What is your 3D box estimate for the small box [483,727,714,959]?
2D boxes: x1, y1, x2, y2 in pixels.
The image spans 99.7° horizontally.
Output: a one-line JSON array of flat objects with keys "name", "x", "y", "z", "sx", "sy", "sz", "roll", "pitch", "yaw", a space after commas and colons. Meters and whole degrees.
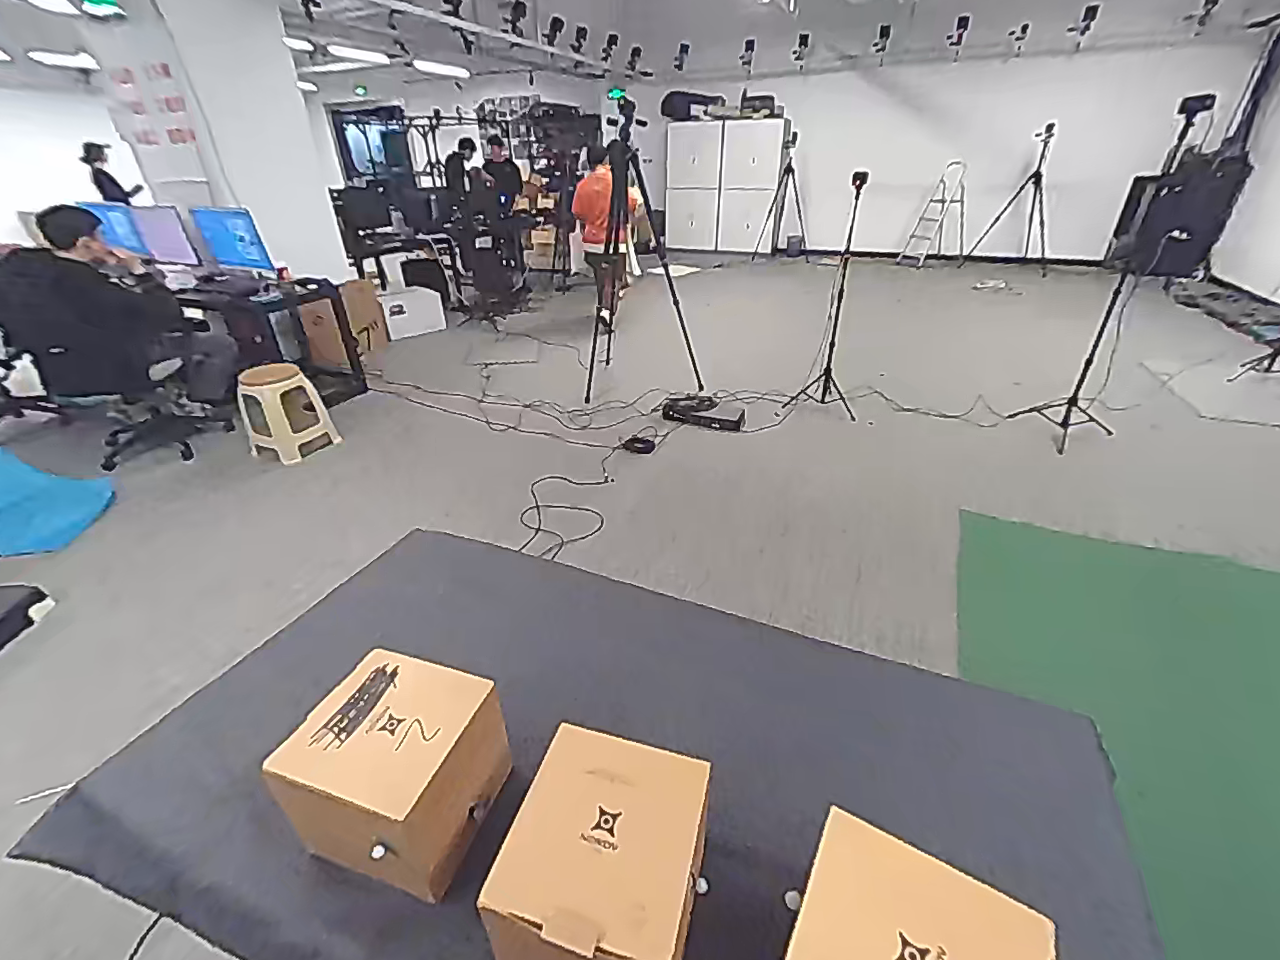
[{"name": "small box", "x": -0.027, "y": 0.387, "z": 0.530, "sx": 0.168, "sy": 0.176, "sz": 0.179, "roll": 9, "pitch": 30, "yaw": 14}]

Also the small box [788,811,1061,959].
[{"name": "small box", "x": 0.215, "y": 0.432, "z": 0.444, "sx": 0.179, "sy": 0.176, "sz": 0.168, "roll": 16, "pitch": 34, "yaw": 27}]
